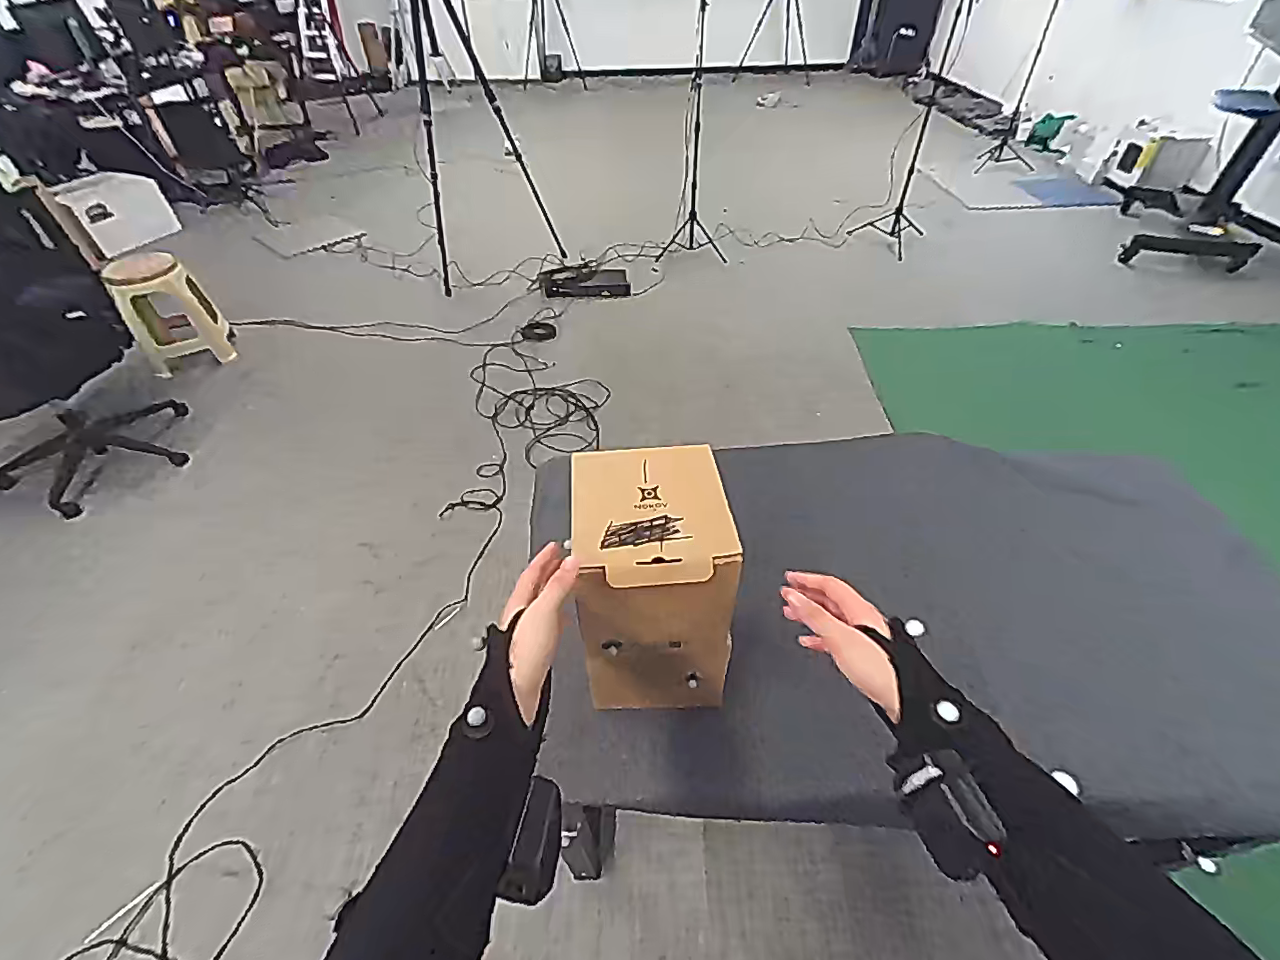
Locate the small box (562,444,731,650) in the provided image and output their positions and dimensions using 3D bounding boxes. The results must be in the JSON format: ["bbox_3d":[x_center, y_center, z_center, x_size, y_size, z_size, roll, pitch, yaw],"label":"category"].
[{"bbox_3d":[0.003,0.081,0.624,0.168,0.176,0.179,-4,43,-3],"label":"small box"}]

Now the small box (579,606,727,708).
[{"bbox_3d":[0.016,0.198,0.740,0.179,0.176,0.168,-2,43,1],"label":"small box"}]
